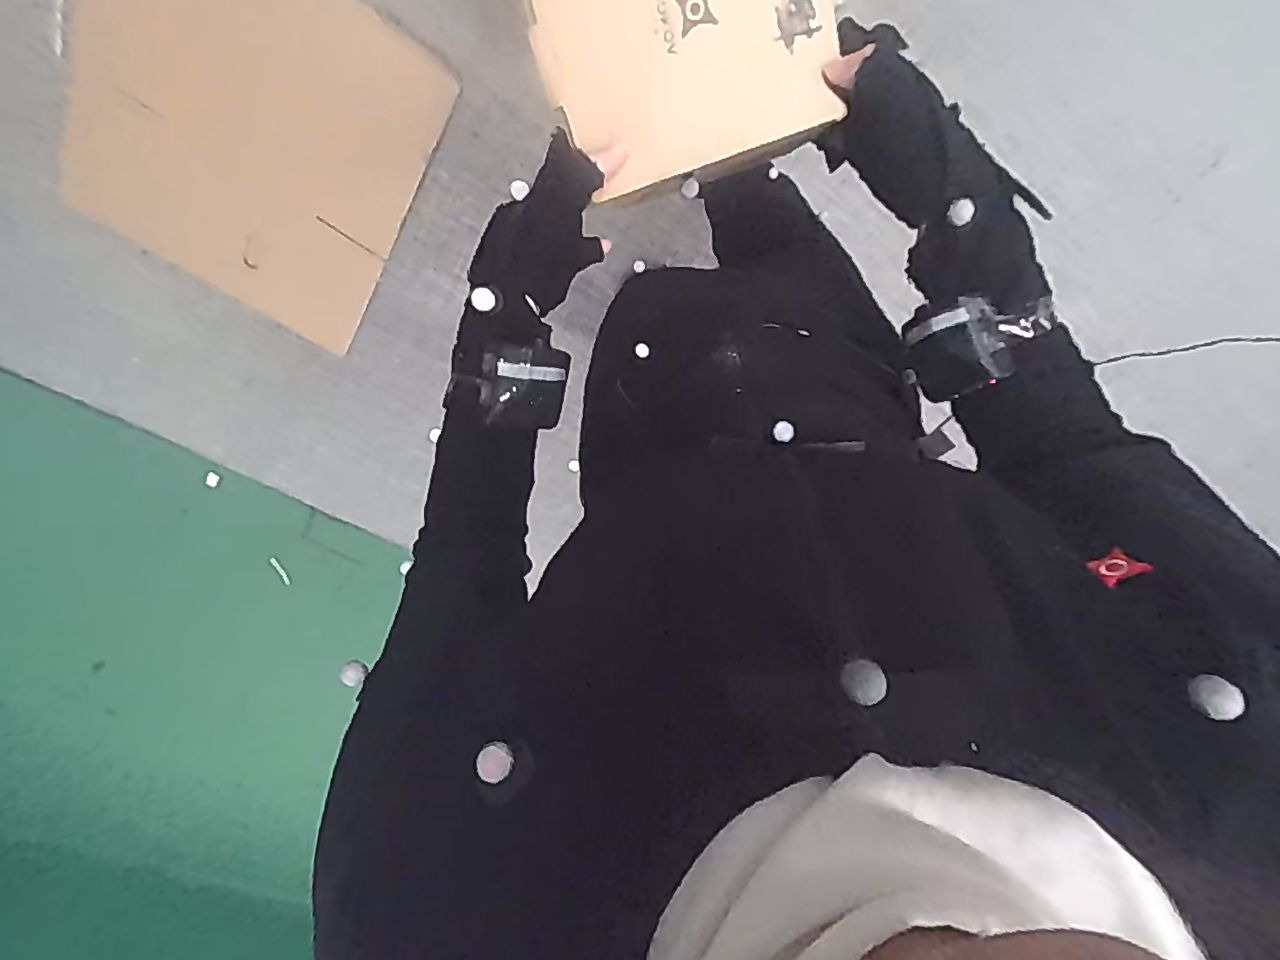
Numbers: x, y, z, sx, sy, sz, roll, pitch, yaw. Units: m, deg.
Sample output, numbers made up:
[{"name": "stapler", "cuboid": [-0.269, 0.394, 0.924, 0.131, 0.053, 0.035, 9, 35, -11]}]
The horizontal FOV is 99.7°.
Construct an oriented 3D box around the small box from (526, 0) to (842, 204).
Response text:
[{"name": "small box", "cuboid": [0.028, -0.328, 0.407, 0.179, 0.176, 0.168, -18, 110, 11]}]
